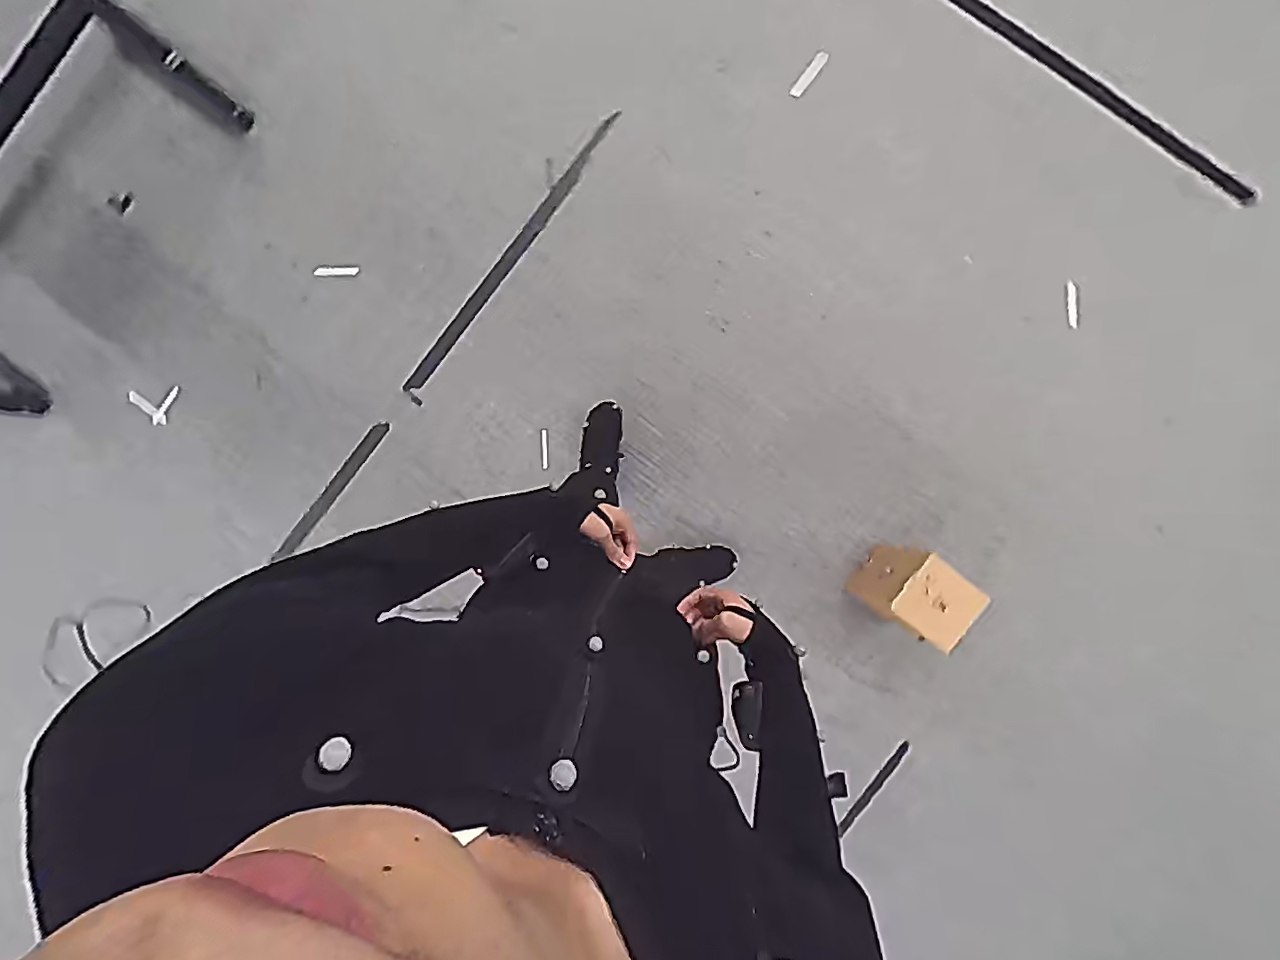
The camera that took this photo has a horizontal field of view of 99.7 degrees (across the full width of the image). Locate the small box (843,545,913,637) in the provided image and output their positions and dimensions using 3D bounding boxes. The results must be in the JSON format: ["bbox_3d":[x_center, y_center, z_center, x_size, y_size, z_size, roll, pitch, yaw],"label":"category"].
[{"bbox_3d":[0.704,0.298,1.501,0.179,0.176,0.168,40,91,2],"label":"small box"}]

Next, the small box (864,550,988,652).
[{"bbox_3d":[0.697,0.288,1.338,0.179,0.176,0.168,40,91,3],"label":"small box"}]
